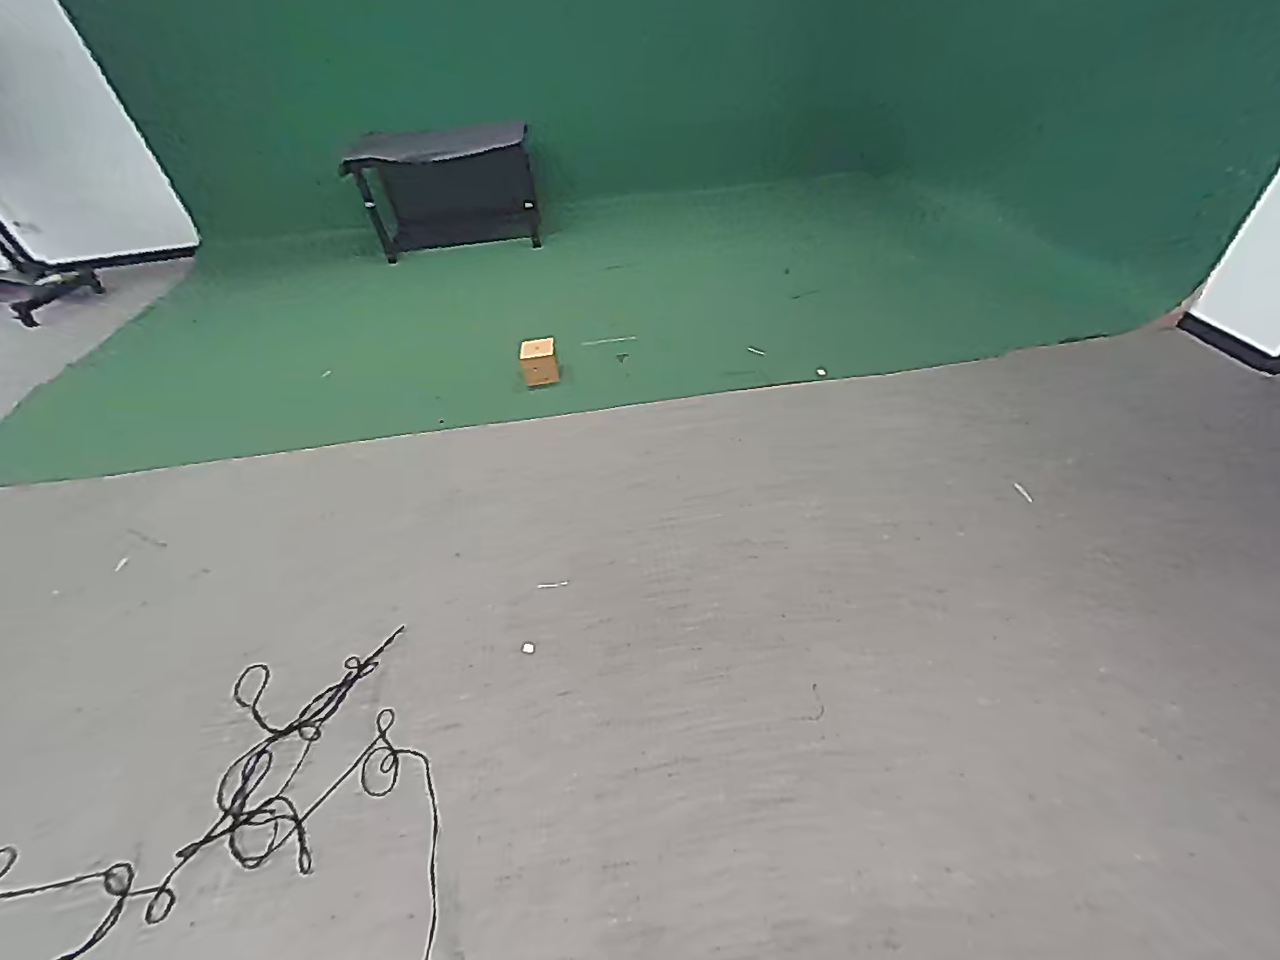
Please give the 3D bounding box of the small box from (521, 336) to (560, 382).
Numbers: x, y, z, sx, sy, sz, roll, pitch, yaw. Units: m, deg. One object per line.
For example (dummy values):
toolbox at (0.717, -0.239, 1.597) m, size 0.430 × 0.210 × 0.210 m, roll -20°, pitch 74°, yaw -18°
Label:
small box at (-0.511, -0.619, 2.800) m, size 0.168 × 0.176 × 0.179 m, roll -9°, pitch 43°, yaw -1°
